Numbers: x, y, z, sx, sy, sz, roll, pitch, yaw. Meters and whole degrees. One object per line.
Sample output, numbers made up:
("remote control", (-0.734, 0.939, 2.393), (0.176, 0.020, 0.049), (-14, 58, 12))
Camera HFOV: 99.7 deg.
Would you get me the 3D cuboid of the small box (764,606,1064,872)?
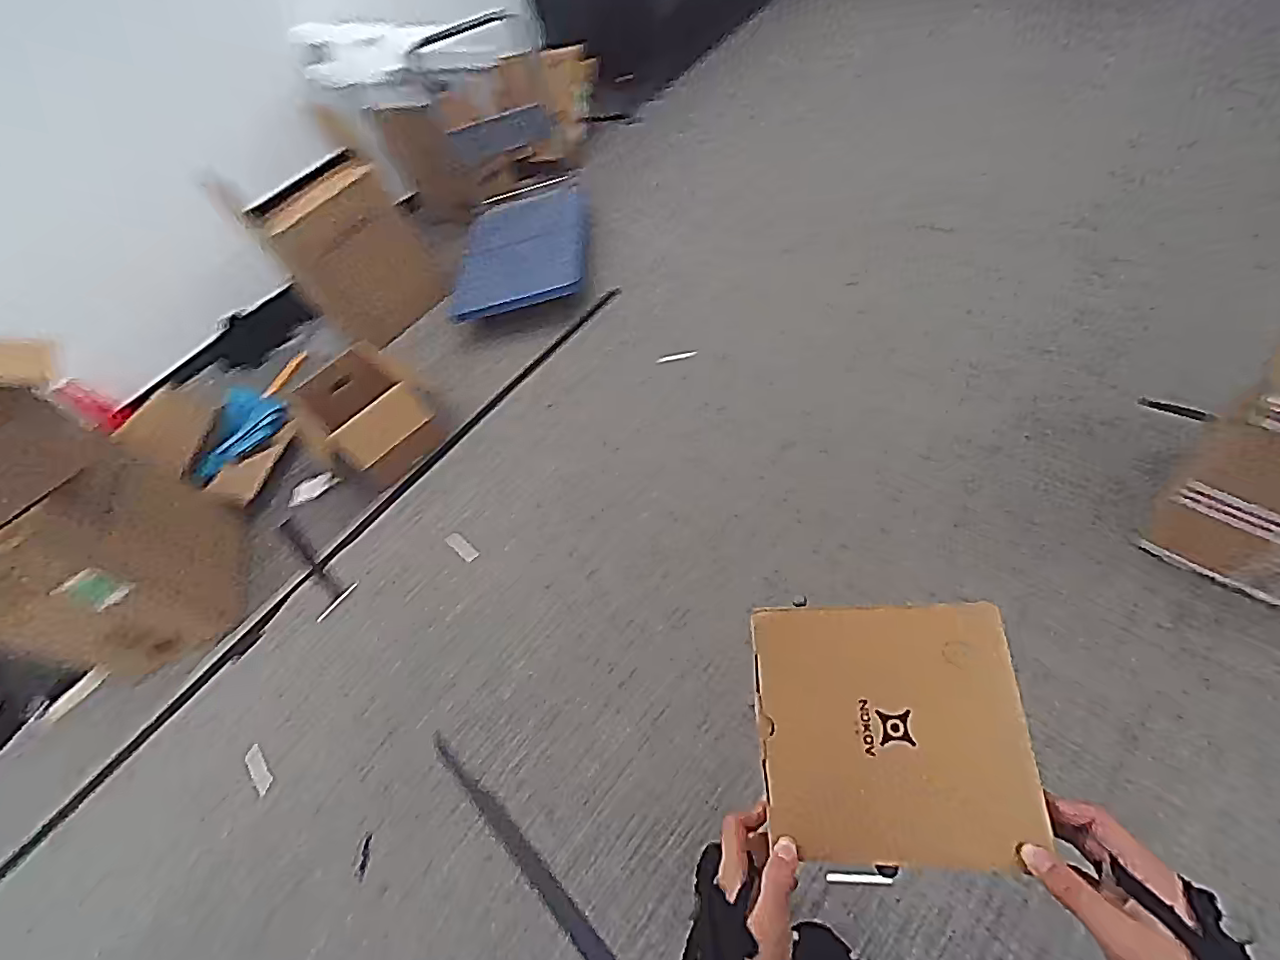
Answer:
("small box", (0.197, 0.196, 0.450), (0.179, 0.176, 0.168), (-4, 70, 13))
